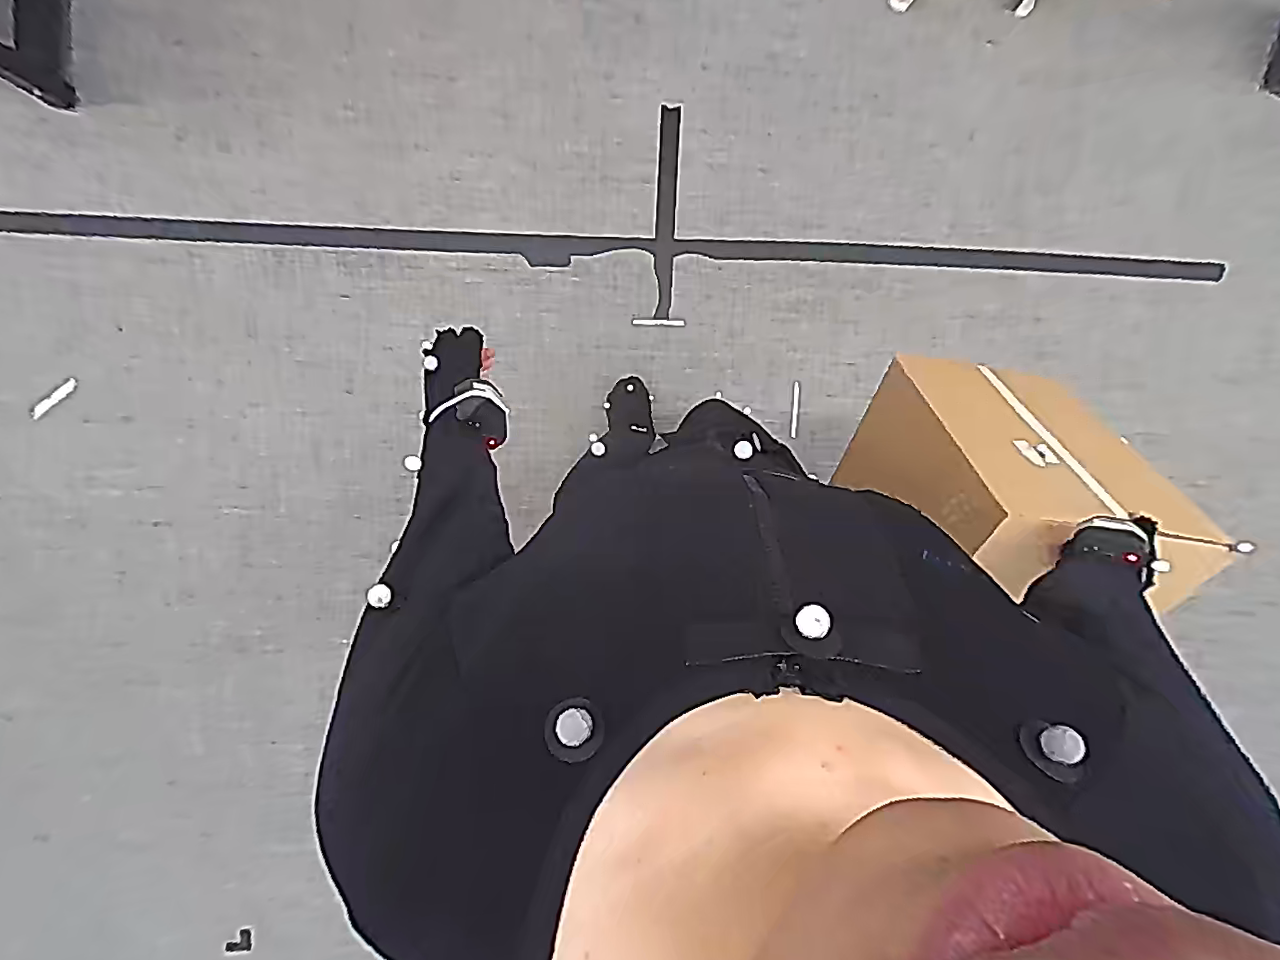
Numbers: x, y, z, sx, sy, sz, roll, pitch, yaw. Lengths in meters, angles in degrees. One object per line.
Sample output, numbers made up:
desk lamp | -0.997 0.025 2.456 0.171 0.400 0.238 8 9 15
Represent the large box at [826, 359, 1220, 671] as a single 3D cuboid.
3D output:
large box | 0.561 0.050 0.911 0.320 0.408 0.320 8 131 -5
